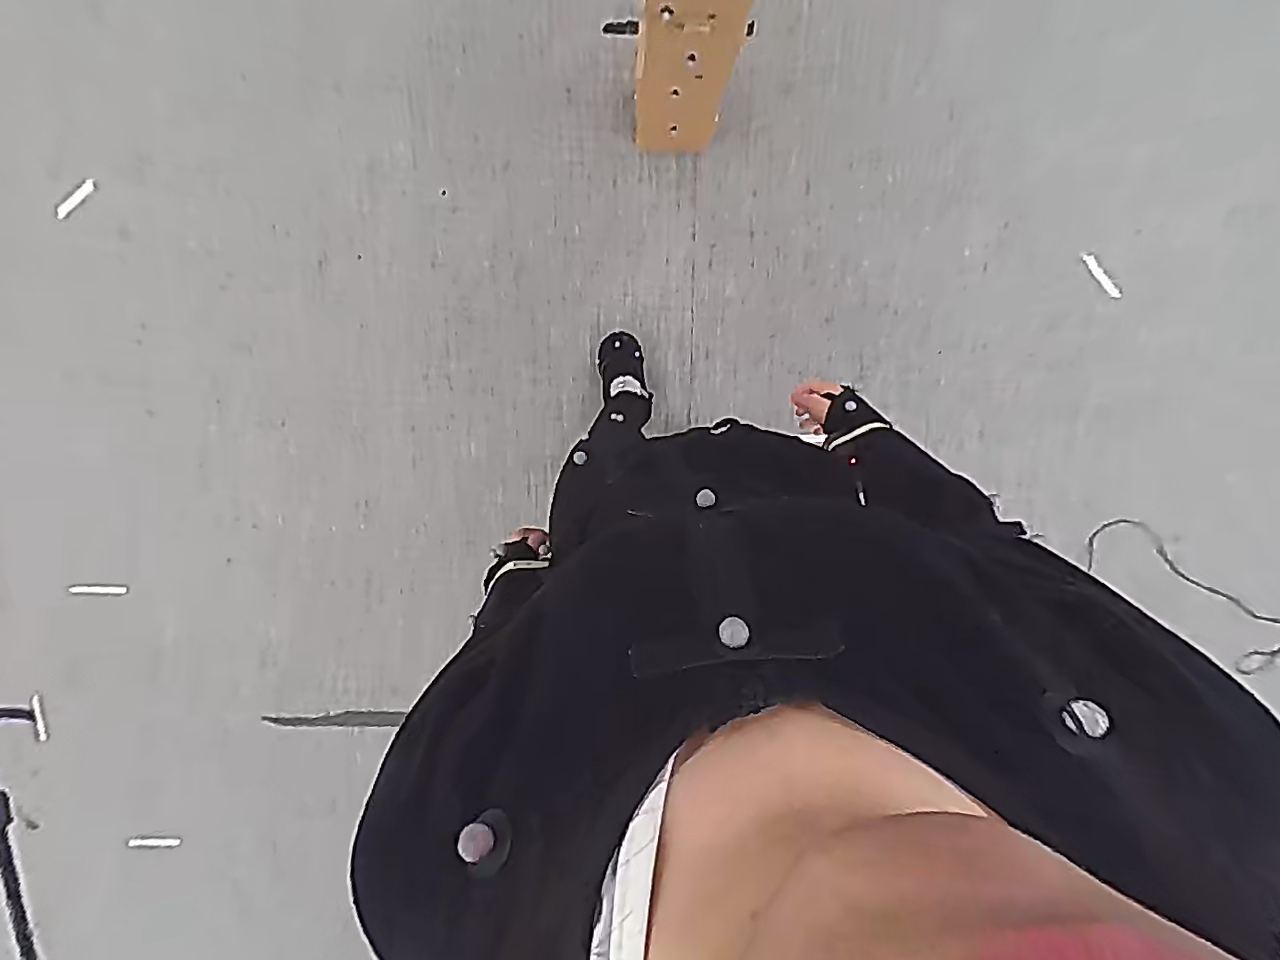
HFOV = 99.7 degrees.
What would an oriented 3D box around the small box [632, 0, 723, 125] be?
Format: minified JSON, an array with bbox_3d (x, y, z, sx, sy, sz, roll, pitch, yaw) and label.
[{"bbox_3d":[0.076,-0.847,1.093,0.179,0.176,0.168,3,101,-2],"label":"small box"}]

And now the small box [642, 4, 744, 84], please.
[{"bbox_3d":[0.089,-0.820,0.932,0.168,0.176,0.179,2,101,-2],"label":"small box"}]

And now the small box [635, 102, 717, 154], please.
[{"bbox_3d":[0.079,-0.879,1.254,0.179,0.176,0.168,0,100,-2],"label":"small box"}]

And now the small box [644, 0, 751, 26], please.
[{"bbox_3d":[0.090,-0.794,0.769,0.168,0.176,0.179,2,99,-1],"label":"small box"}]
